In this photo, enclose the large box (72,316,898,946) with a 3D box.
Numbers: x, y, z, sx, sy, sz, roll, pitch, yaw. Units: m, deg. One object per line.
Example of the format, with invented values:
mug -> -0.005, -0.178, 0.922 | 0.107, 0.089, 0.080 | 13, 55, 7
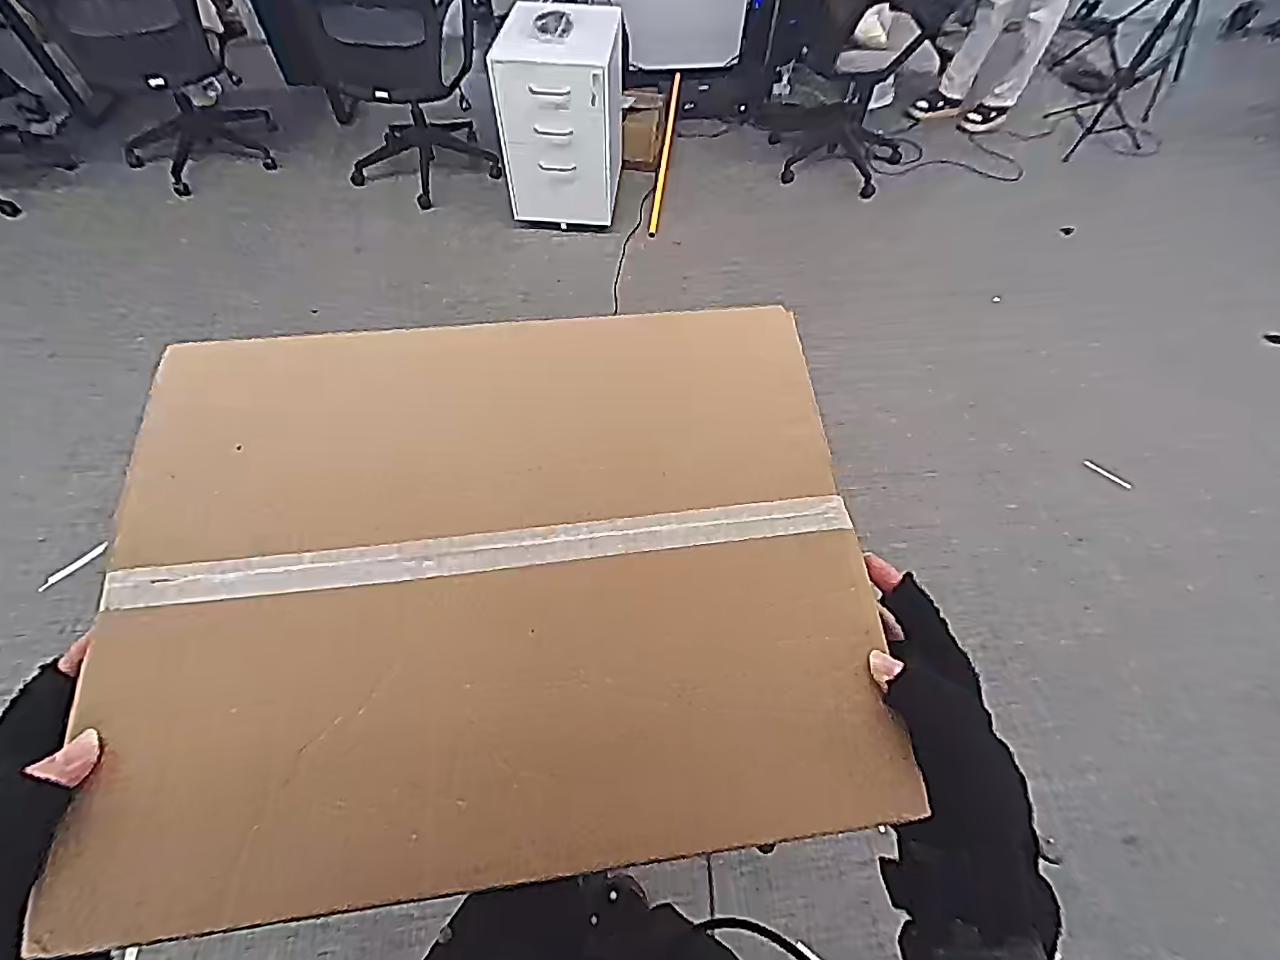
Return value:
large box -> -0.086, 0.100, 0.452 | 0.408, 0.320, 0.320 | -6, 68, -5
